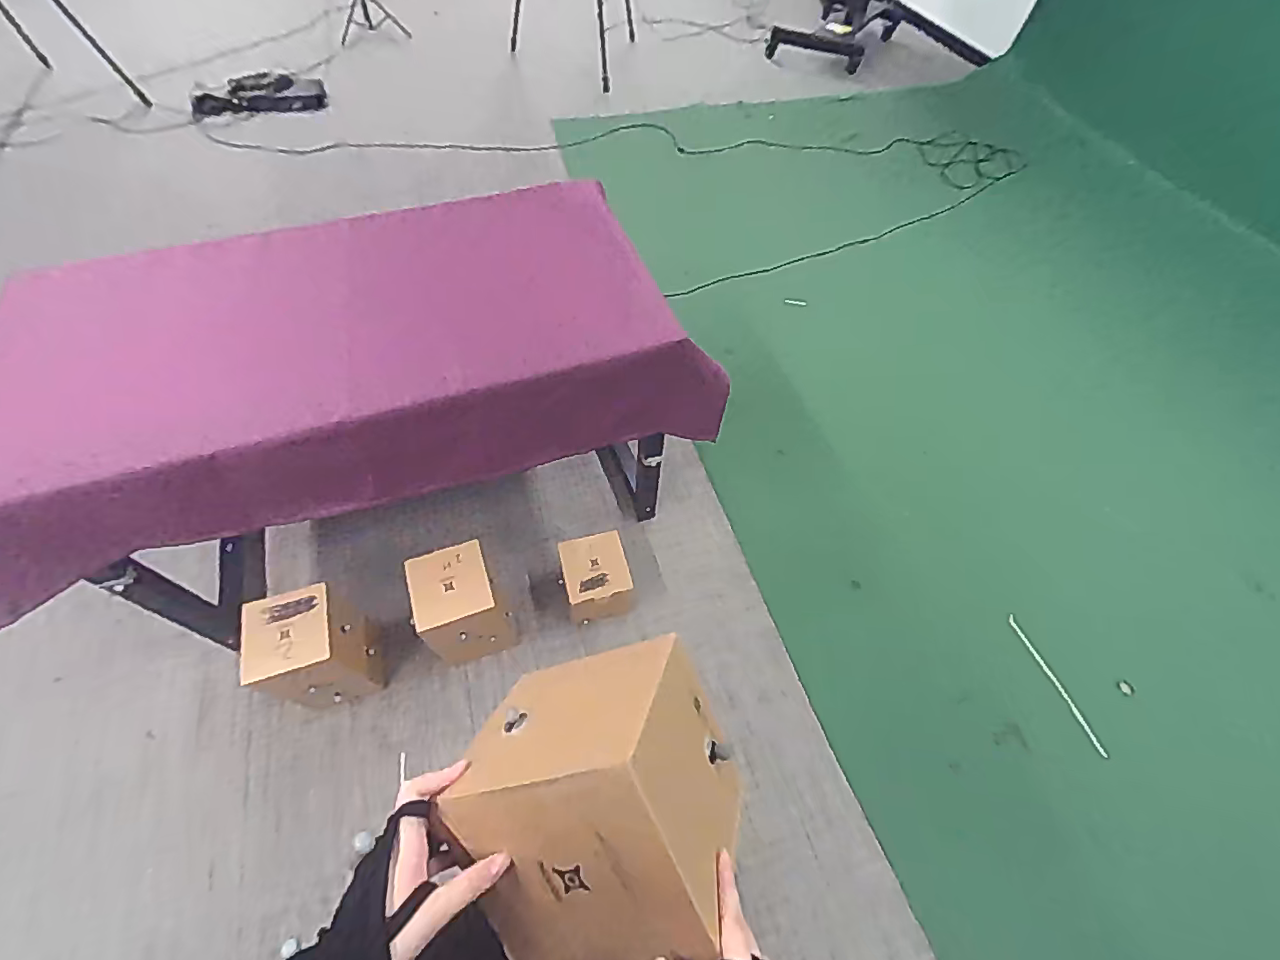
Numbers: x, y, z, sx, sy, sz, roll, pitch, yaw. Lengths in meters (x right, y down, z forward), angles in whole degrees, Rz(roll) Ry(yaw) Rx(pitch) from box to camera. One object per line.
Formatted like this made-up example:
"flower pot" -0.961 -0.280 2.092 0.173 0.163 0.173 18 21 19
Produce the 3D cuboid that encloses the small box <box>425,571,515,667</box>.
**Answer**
"small box" -0.435 0.364 1.396 0.179 0.176 0.168 -15 59 -13

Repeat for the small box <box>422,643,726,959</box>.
"small box" -0.040 0.268 0.467 0.179 0.176 0.168 -21 97 18
